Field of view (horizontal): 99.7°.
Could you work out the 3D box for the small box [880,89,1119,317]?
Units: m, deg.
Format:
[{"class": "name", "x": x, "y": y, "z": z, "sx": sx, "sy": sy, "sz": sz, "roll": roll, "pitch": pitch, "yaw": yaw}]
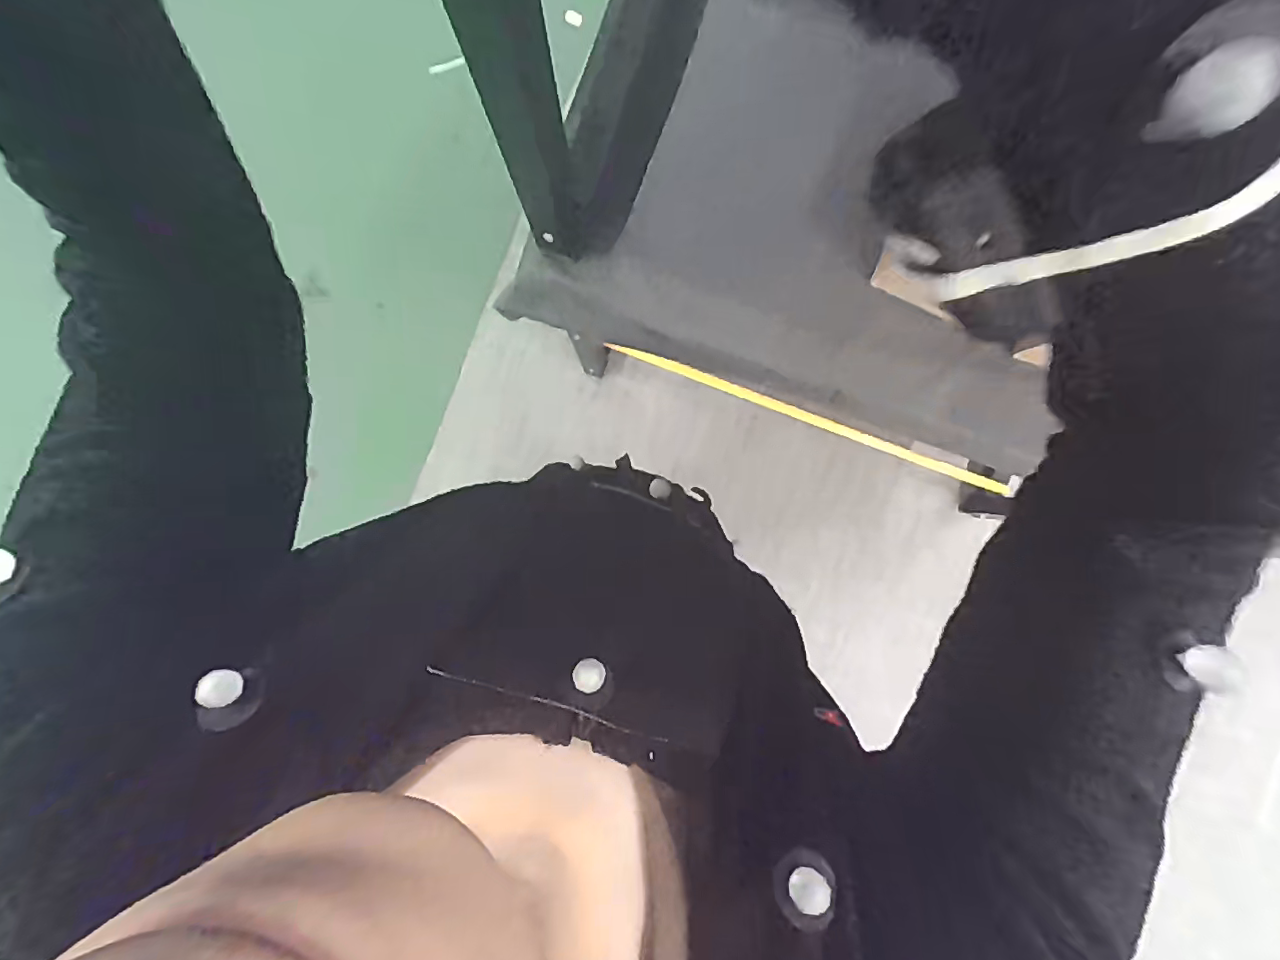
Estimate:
[{"class": "small box", "x": 0.441, "y": -0.337, "z": 0.698, "sx": 0.168, "sy": 0.176, "sz": 0.179, "roll": 24, "pitch": 89, "yaw": -1}]
